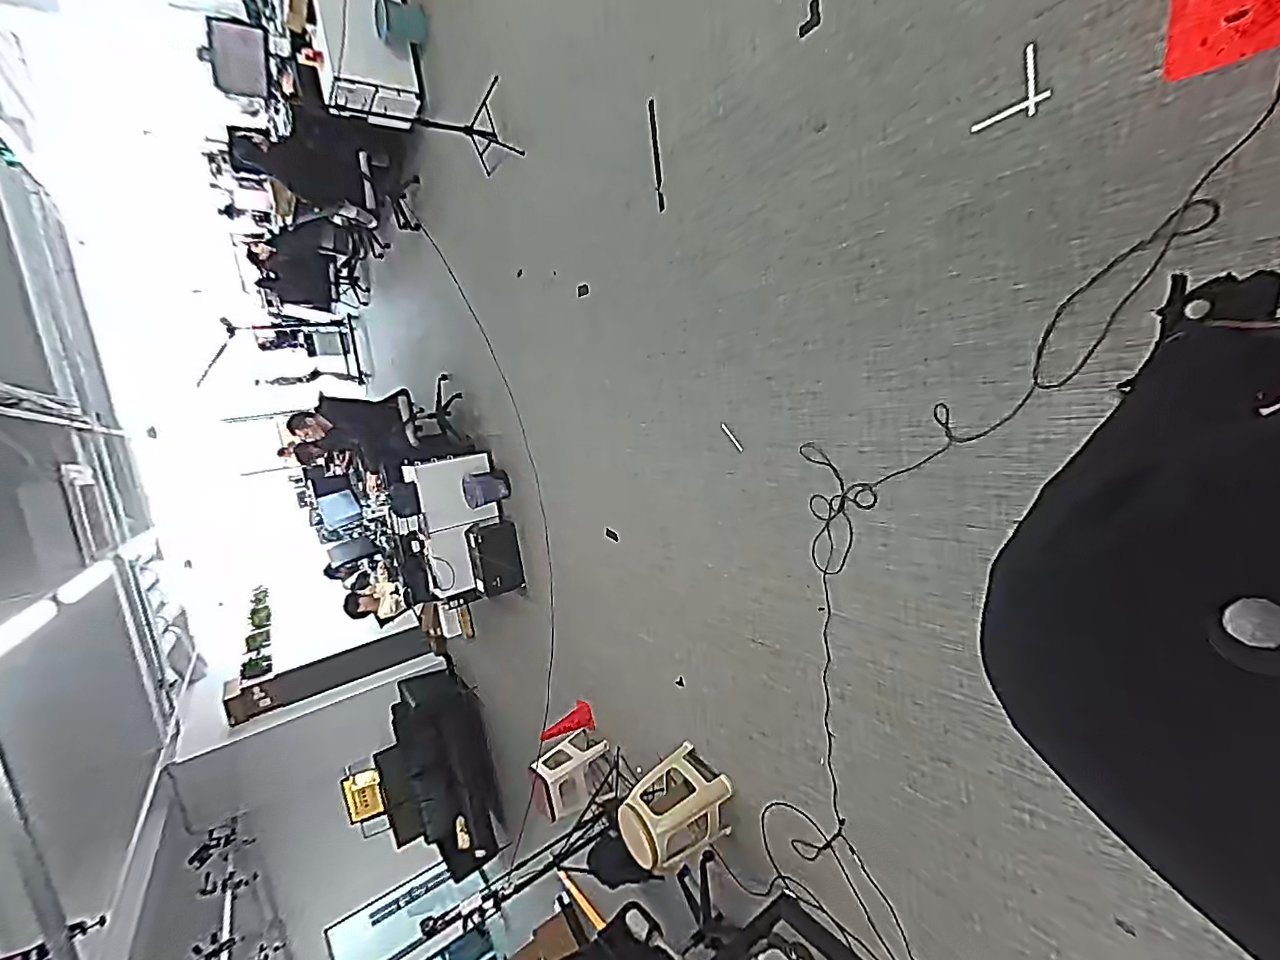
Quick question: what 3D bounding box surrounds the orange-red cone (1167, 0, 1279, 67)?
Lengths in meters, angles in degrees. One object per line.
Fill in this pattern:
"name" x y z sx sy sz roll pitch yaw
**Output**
"orange-red cone" 0.864 -0.787 0.788 0.199 0.360 0.198 13 111 54
